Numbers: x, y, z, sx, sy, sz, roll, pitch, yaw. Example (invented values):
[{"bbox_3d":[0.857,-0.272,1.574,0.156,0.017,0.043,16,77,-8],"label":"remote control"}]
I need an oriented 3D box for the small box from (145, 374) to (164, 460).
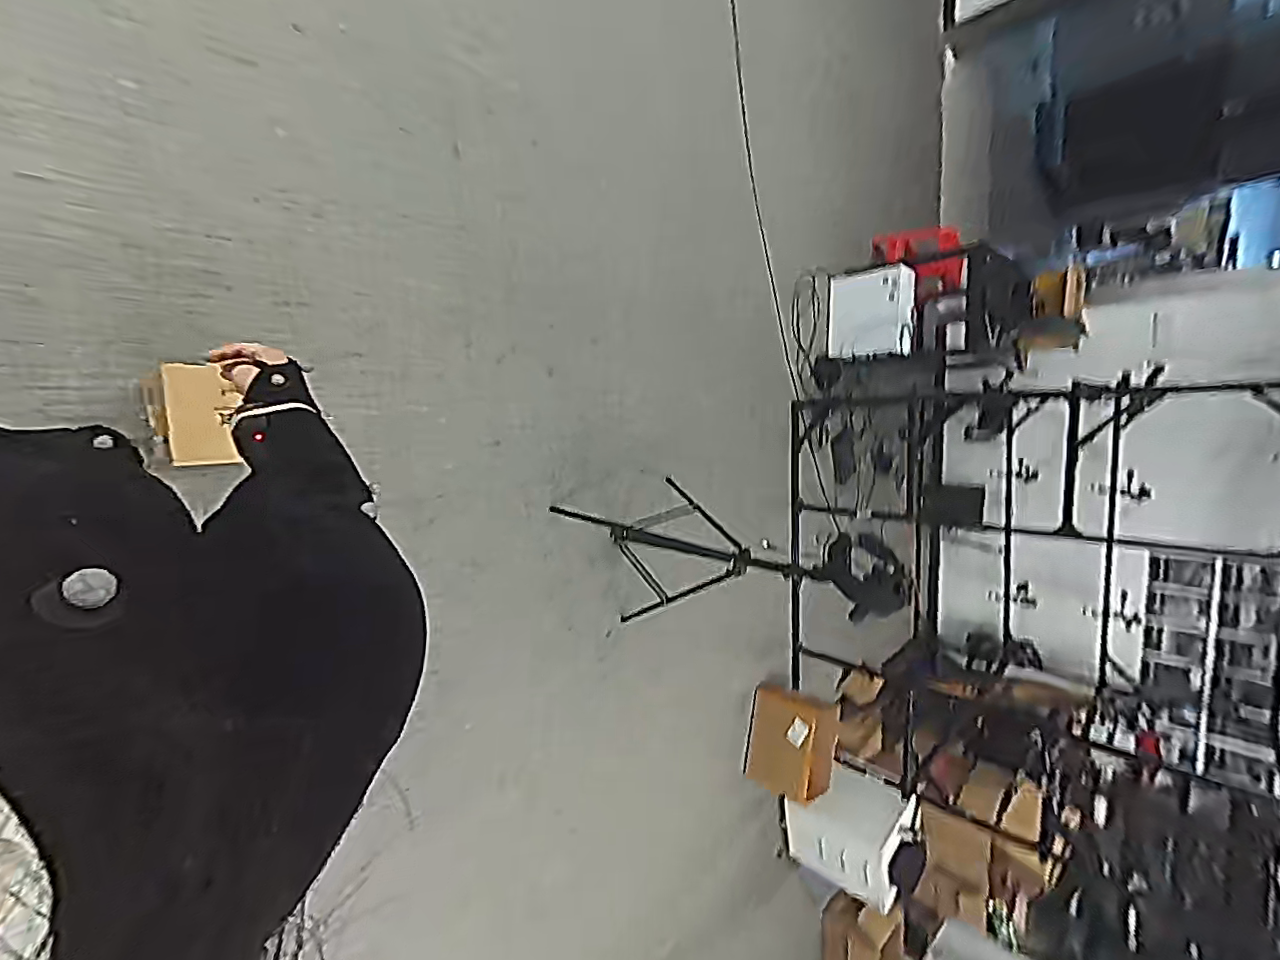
[{"bbox_3d":[-0.914,-0.128,1.132,0.179,0.176,0.168,-7,98,-44],"label":"small box"}]

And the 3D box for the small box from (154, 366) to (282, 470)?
[{"bbox_3d":[-0.793,-0.116,1.017,0.168,0.176,0.179,-7,99,-46],"label":"small box"}]
